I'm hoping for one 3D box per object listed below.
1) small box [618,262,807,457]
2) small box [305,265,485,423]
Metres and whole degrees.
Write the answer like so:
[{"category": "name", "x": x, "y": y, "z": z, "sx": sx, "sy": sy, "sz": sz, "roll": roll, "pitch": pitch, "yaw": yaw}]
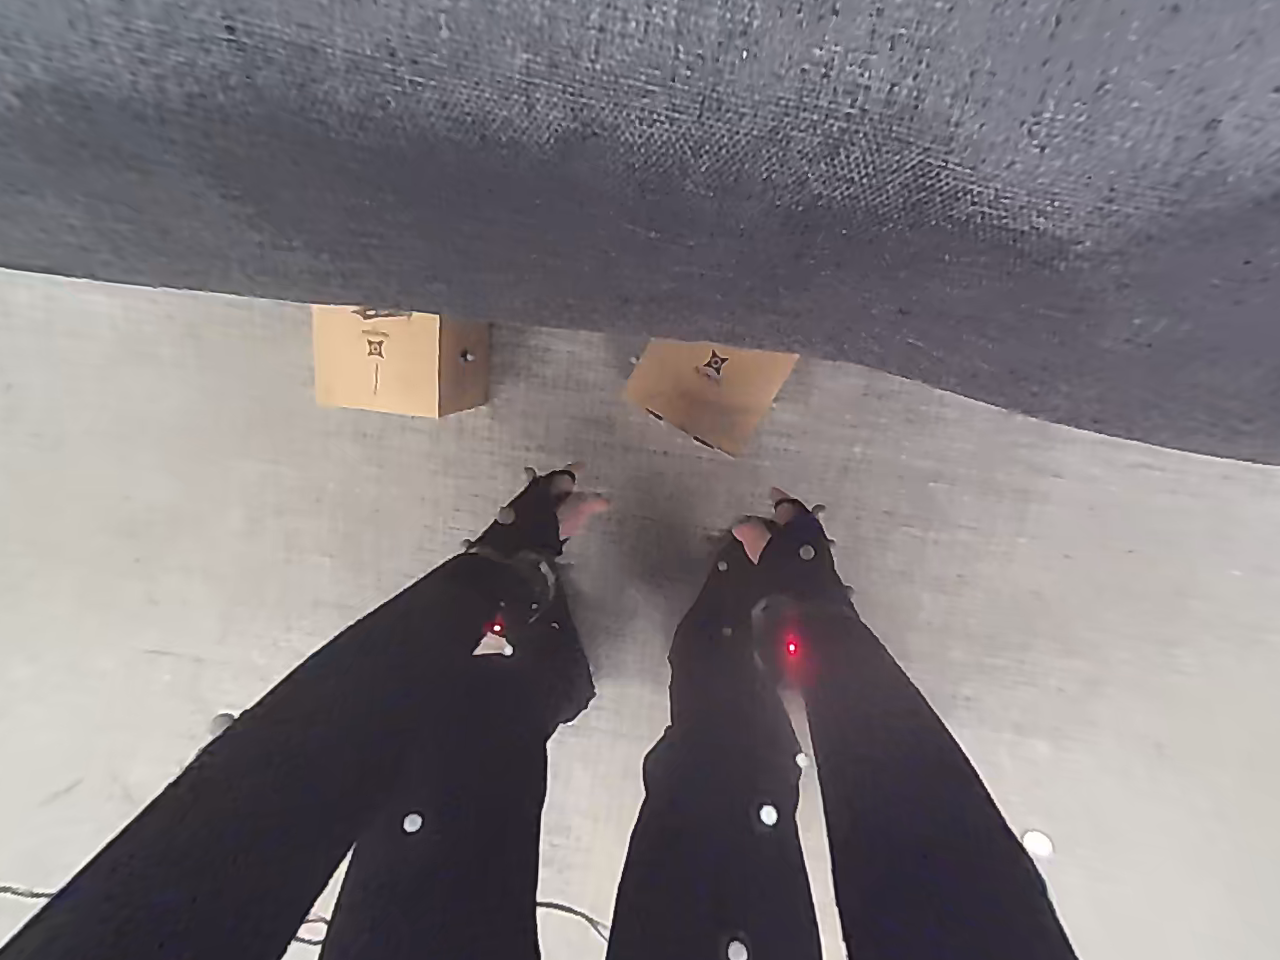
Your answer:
[{"category": "small box", "x": 0.089, "y": -0.154, "z": 0.713, "sx": 0.168, "sy": 0.176, "sz": 0.179, "roll": 28, "pitch": 102, "yaw": -3}, {"category": "small box", "x": -0.320, "y": -0.183, "z": 0.737, "sx": 0.168, "sy": 0.176, "sz": 0.179, "roll": 6, "pitch": 104, "yaw": 4}]
